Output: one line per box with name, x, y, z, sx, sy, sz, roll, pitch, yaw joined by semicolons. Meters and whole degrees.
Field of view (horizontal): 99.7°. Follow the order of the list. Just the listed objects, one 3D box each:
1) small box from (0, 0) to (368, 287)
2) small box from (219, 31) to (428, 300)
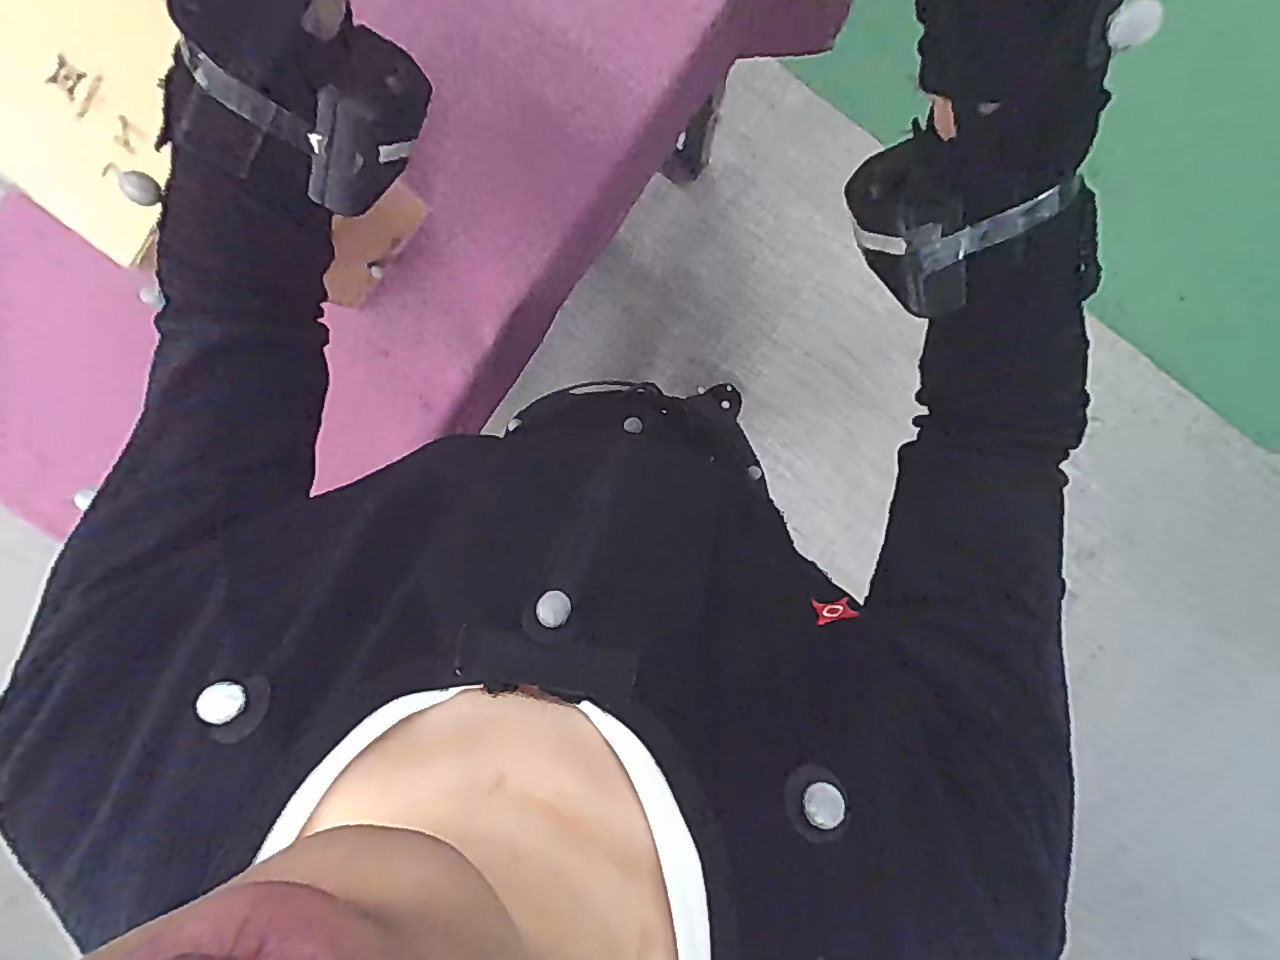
small box;-0.376;-0.286;0.450;0.179;0.176;0.168;38;99;-5
small box;-0.382;-0.326;0.609;0.179;0.176;0.168;40;99;-6
